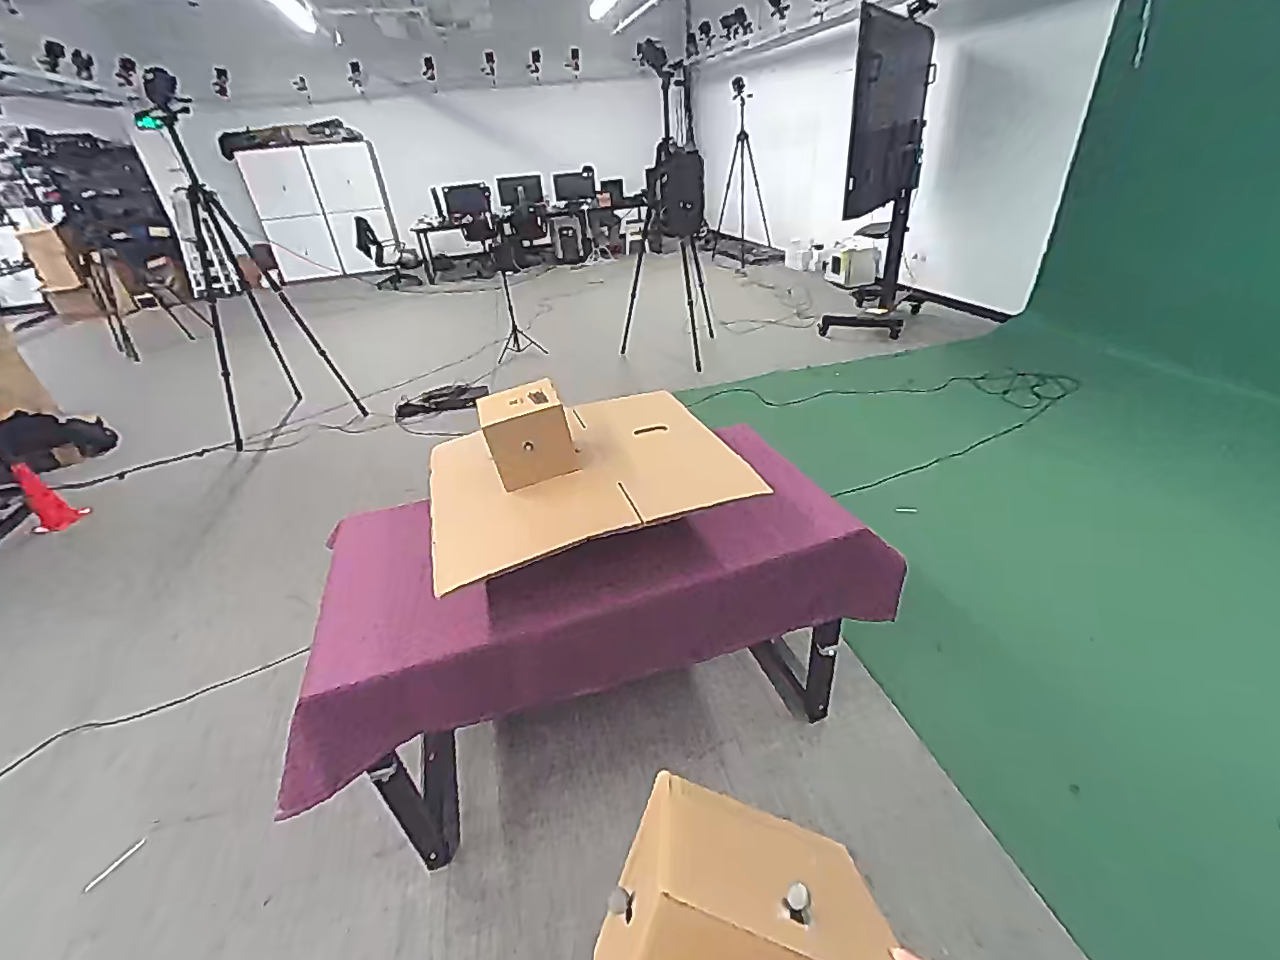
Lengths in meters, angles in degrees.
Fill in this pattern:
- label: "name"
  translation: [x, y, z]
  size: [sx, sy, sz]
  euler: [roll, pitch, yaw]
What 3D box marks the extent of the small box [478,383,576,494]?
- label: "small box"
  translation: [-0.253, -0.095, 1.235]
  size: [0.179, 0.176, 0.168]
  euler: [-20, 34, -8]
